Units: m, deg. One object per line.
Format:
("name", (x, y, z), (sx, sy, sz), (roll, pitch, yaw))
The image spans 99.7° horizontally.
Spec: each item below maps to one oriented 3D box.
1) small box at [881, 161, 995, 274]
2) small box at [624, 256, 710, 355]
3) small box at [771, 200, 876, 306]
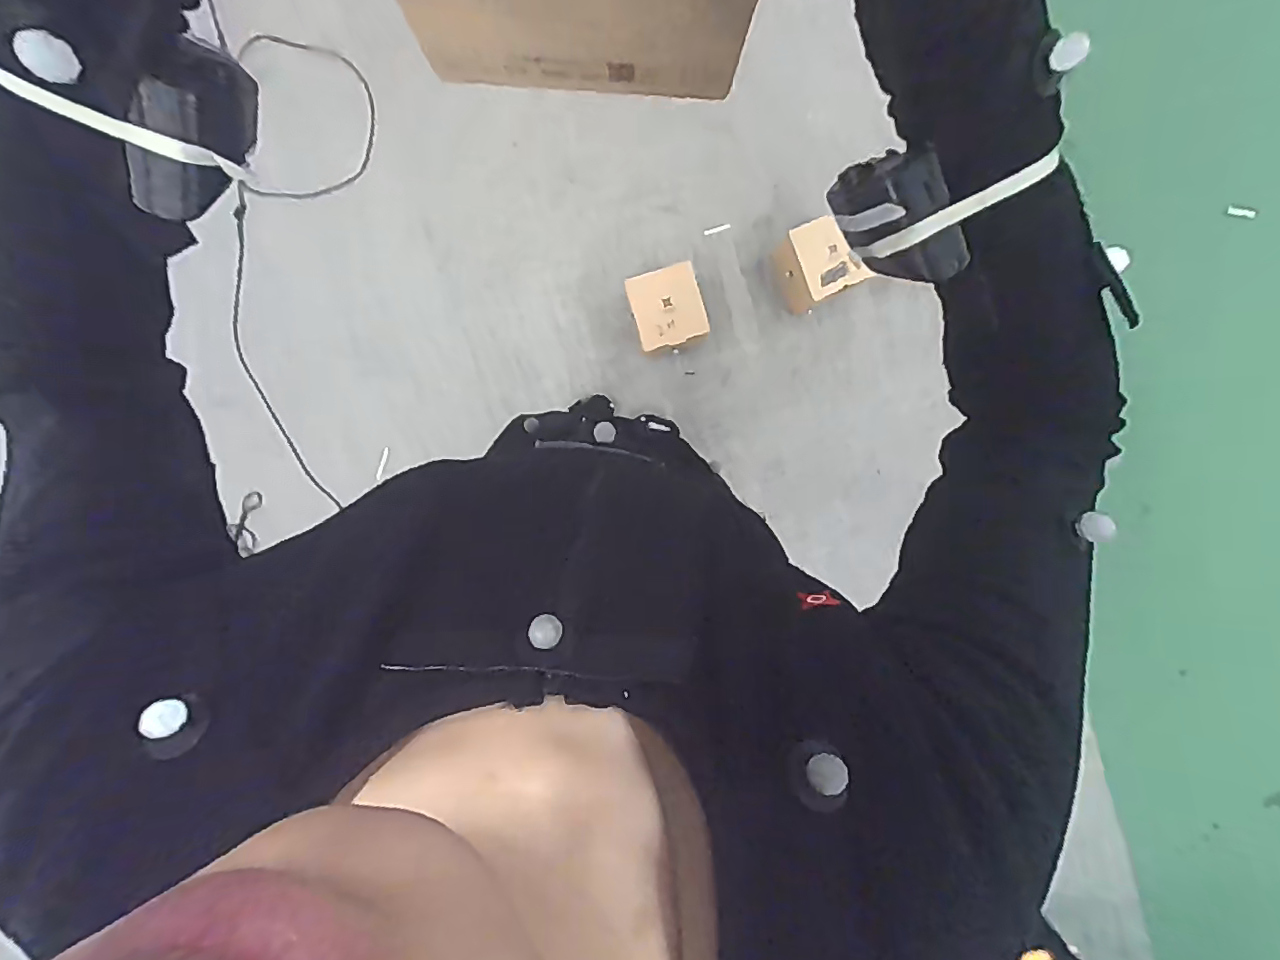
("small box", (0.723, -0.636, 1.331), (0.168, 0.176, 0.179), (-19, 96, 2))
("small box", (0.061, -0.425, 1.343), (0.168, 0.176, 0.179), (-18, 97, 2))
("small box", (0.445, -0.546, 1.337), (0.168, 0.176, 0.179), (-23, 95, 2))
